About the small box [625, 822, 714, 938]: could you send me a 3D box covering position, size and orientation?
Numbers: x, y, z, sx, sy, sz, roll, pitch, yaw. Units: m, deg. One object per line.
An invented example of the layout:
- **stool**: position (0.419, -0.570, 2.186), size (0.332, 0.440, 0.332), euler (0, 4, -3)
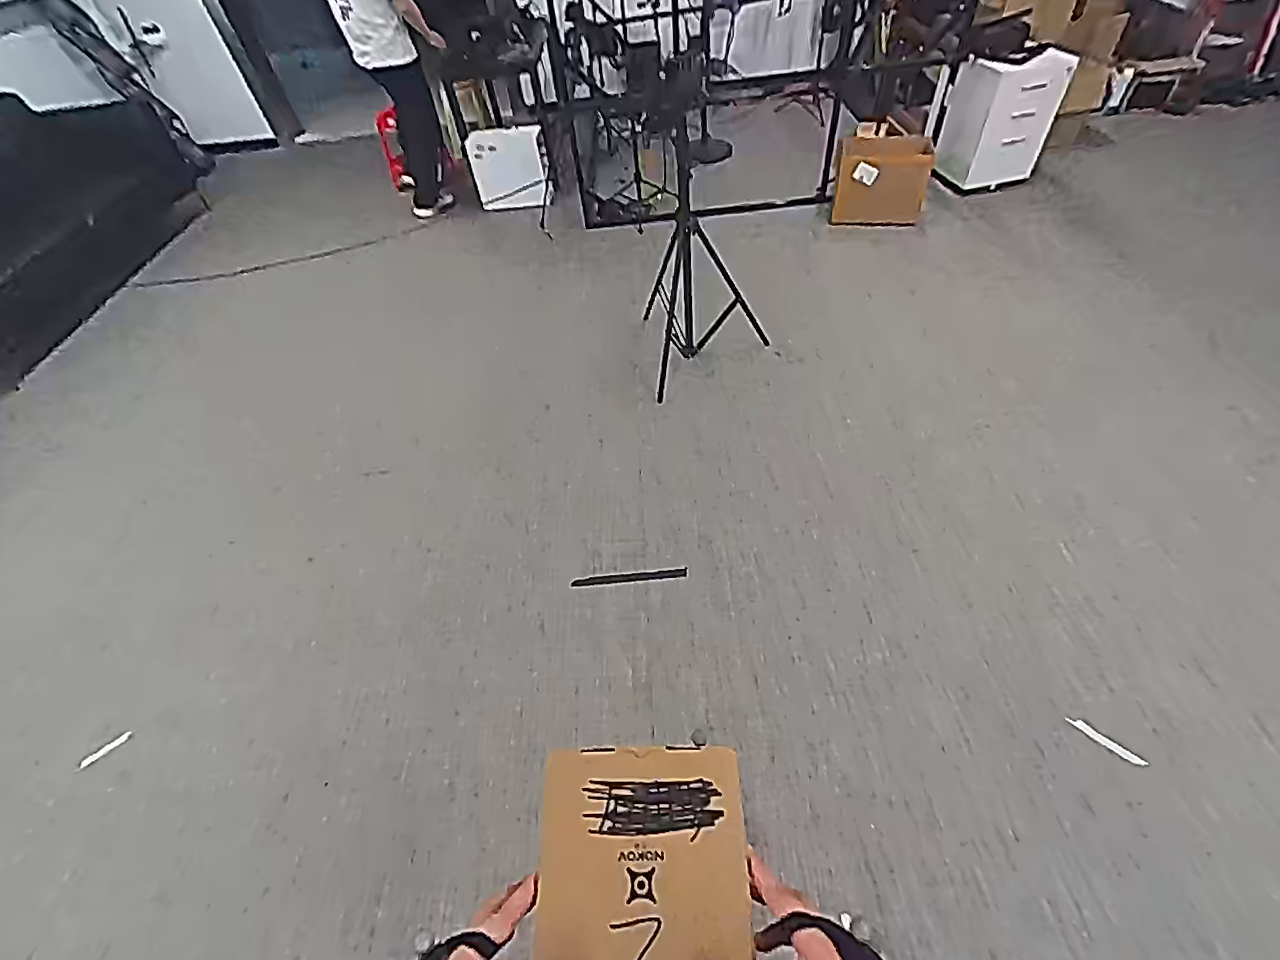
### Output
- **small box**: position (0.059, 0.836, 1.129), size (0.168, 0.176, 0.179), euler (-6, 49, 2)
